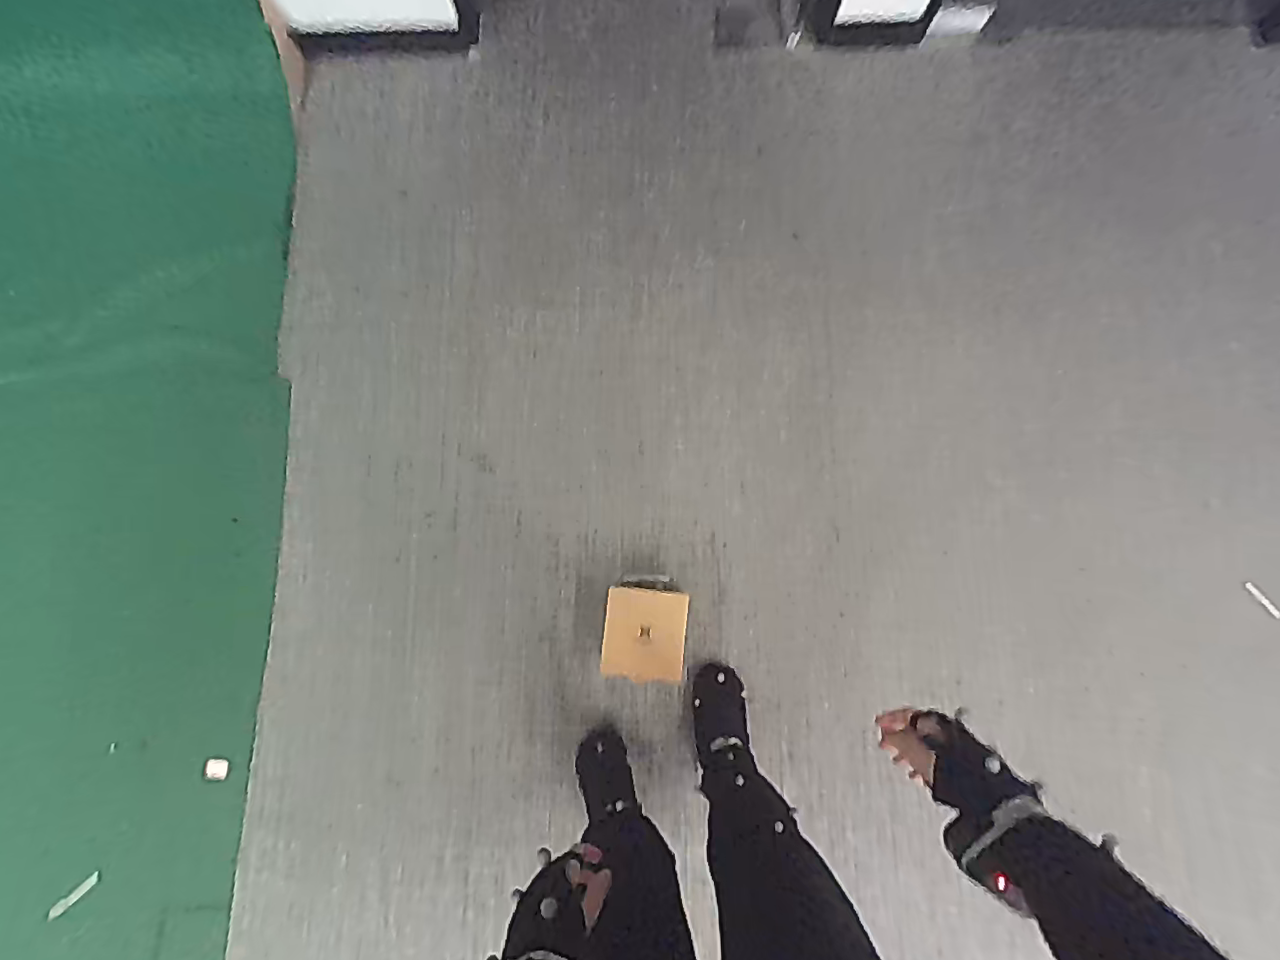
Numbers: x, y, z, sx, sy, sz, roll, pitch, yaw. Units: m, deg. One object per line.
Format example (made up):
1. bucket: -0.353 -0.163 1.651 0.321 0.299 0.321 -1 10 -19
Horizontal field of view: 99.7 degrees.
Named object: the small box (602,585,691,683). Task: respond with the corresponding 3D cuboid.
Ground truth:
1. small box: 0.012 0.323 1.168 0.168 0.176 0.179 6 81 1
